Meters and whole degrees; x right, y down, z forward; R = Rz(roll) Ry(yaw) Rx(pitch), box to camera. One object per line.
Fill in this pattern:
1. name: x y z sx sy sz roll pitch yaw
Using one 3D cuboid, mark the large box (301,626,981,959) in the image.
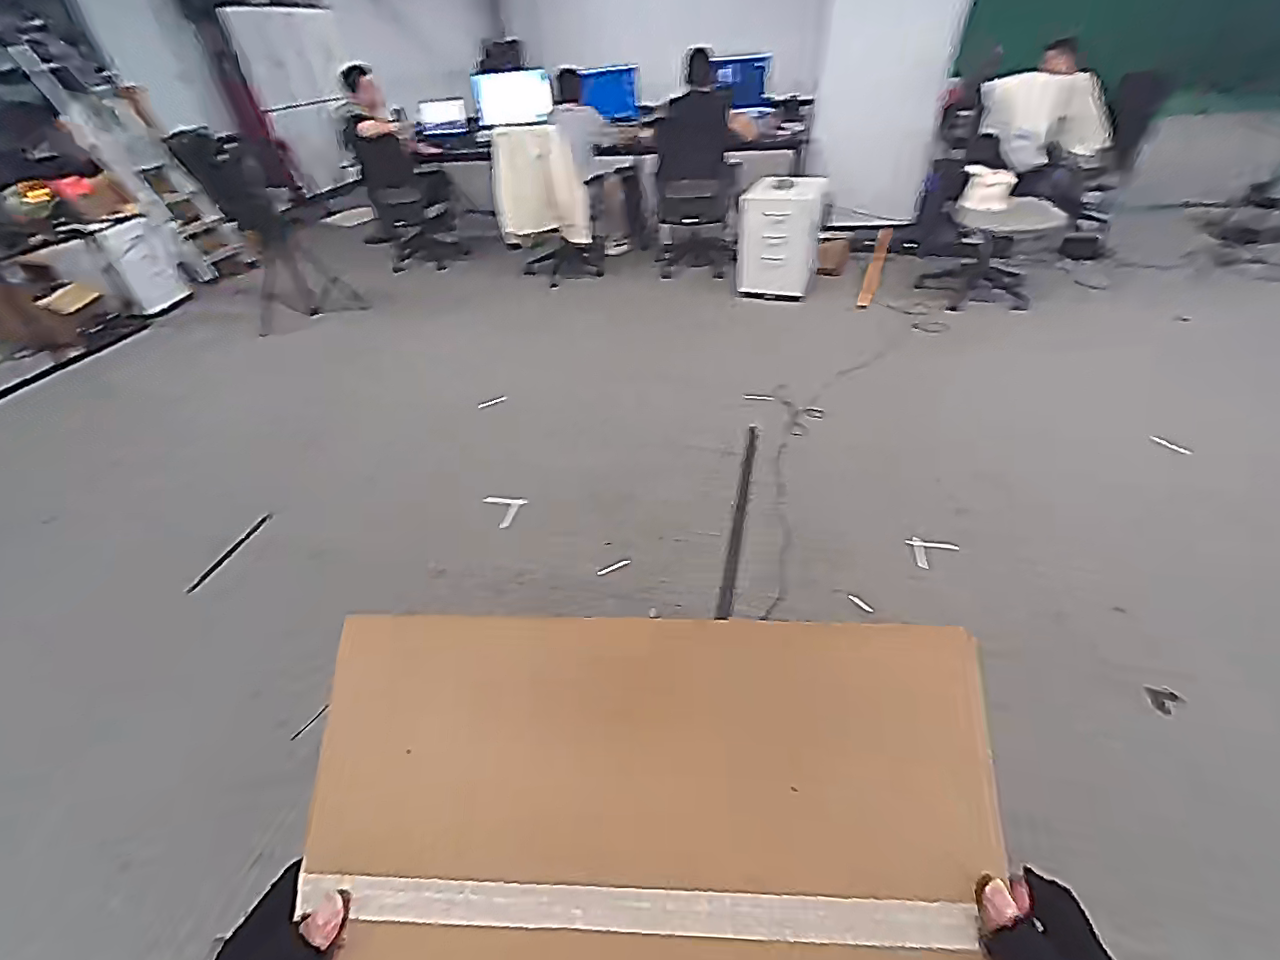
1. large box: 0.006 0.291 0.466 0.408 0.320 0.320 0 73 3
